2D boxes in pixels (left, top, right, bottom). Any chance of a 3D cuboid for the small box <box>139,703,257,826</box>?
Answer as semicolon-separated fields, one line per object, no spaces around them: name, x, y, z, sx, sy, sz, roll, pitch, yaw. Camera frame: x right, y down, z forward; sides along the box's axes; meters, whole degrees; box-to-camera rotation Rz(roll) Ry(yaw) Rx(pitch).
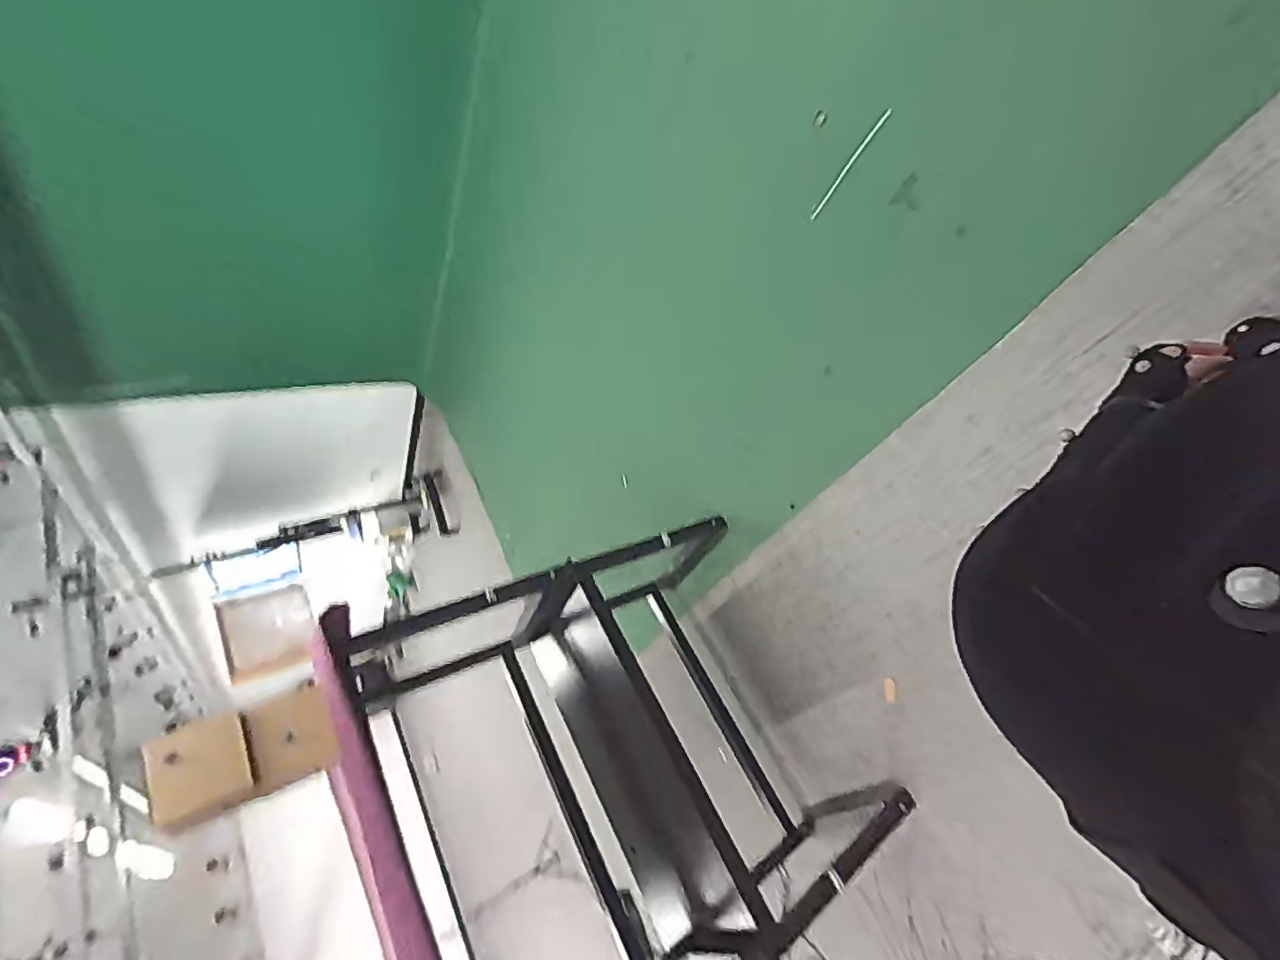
small box;-0.960;0.615;1.187;0.179;0.176;0.168;58;140;22

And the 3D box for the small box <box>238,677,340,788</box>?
small box;-0.839;0.598;1.299;0.179;0.176;0.168;58;140;21
